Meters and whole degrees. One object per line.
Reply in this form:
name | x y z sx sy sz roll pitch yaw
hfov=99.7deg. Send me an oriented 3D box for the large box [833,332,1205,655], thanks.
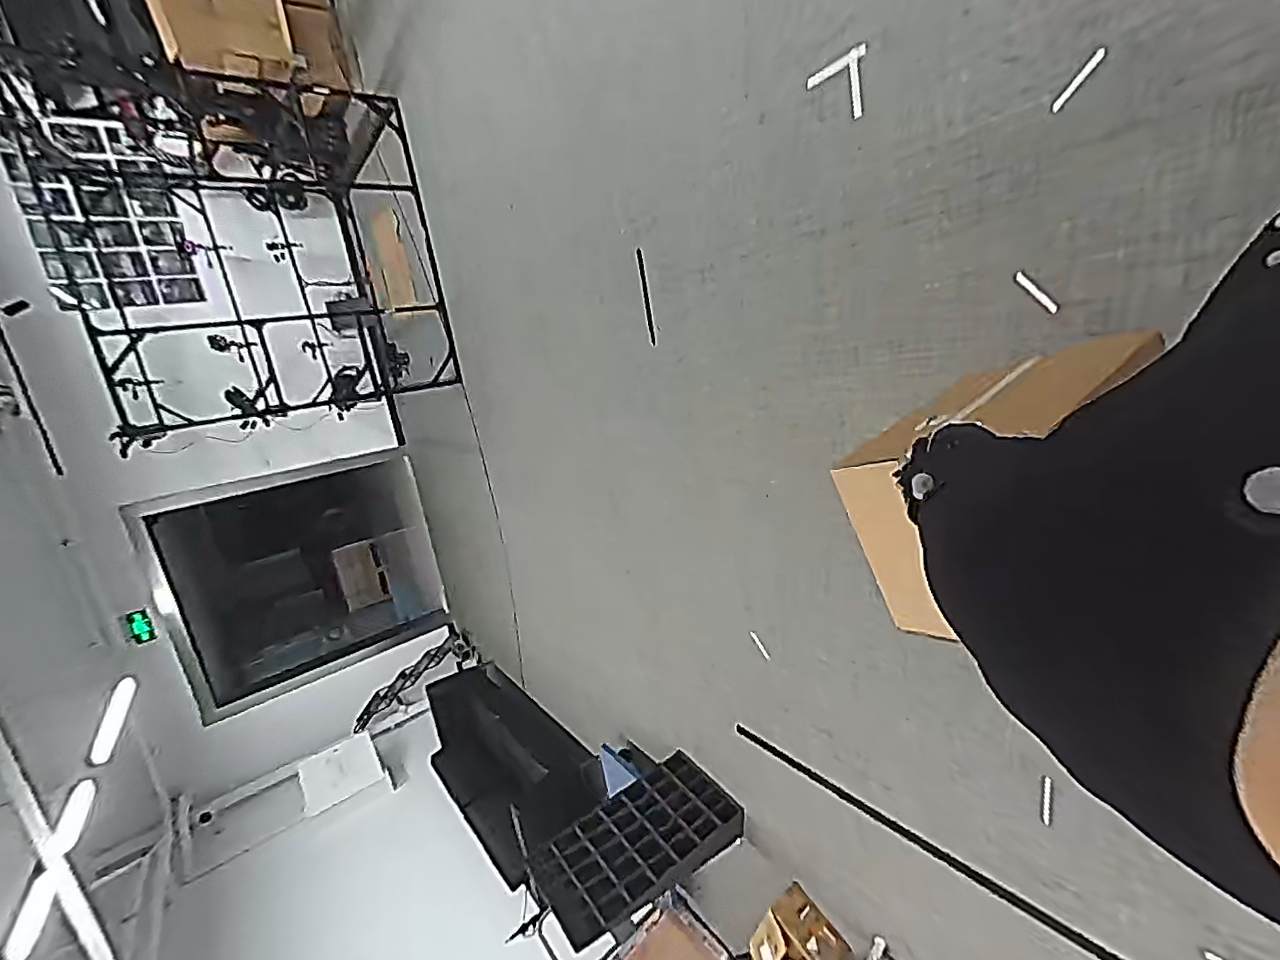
large box | 0.599 0.012 0.862 0.320 0.408 0.320 -14 103 62
